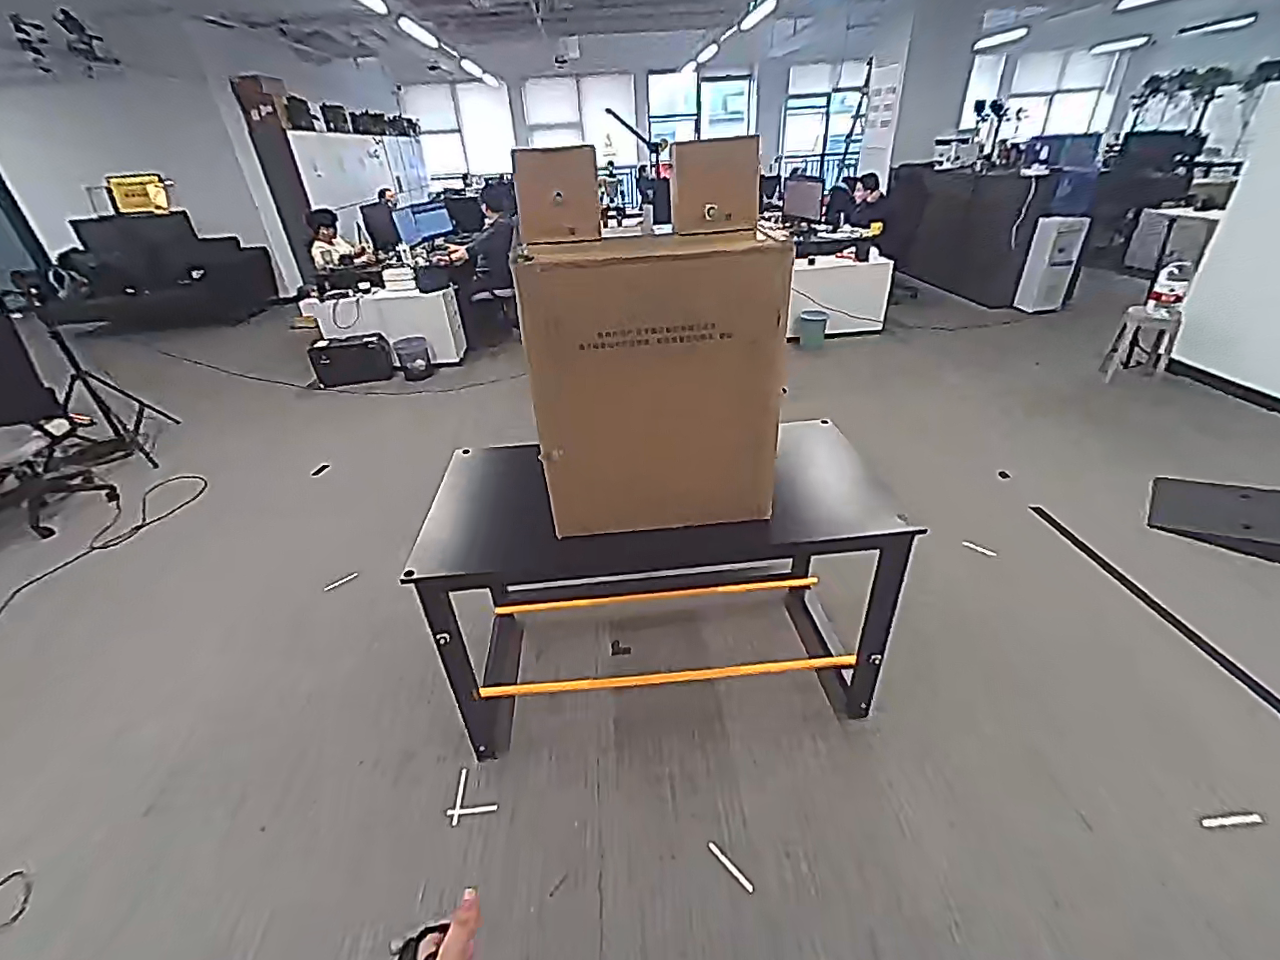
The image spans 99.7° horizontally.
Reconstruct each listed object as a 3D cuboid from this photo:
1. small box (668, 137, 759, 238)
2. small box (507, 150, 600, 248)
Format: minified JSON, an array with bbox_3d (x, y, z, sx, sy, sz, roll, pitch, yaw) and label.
[{"bbox_3d":[0.149,-0.614,1.142,0.168,0.176,0.179,-7,31,1],"label":"small box"},{"bbox_3d":[-0.177,-0.588,1.137,0.168,0.176,0.179,-7,31,-6],"label":"small box"}]
